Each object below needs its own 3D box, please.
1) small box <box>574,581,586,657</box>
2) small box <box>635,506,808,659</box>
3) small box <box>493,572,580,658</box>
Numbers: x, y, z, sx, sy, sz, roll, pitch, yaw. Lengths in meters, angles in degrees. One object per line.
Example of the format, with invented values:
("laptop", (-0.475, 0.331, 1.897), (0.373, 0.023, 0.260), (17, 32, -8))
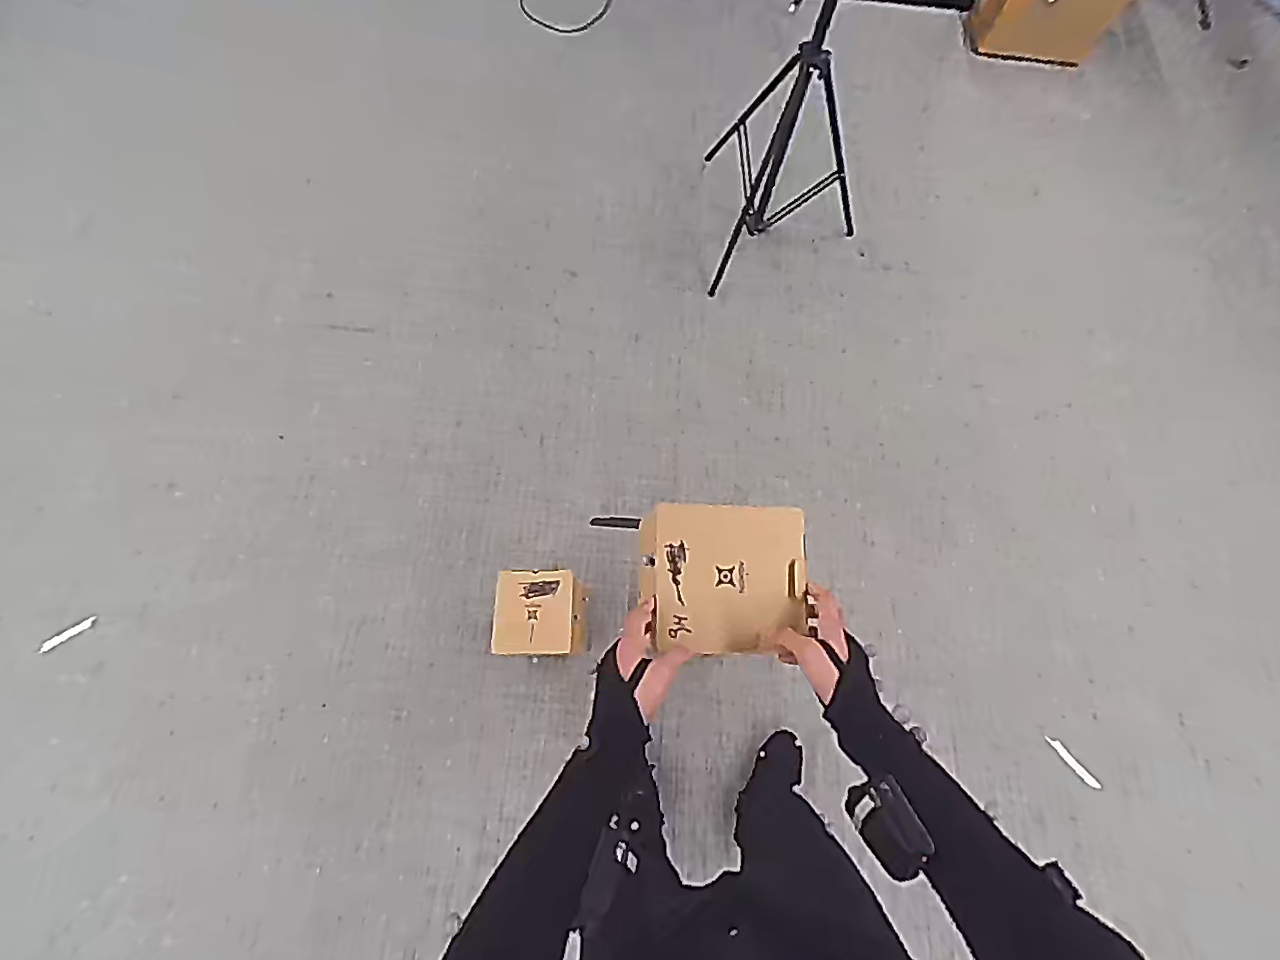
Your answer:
("small box", (-0.225, 0.358, 1.378), (0.168, 0.176, 0.179), (-1, 71, -3))
("small box", (0.093, 0.129, 0.681), (0.179, 0.176, 0.168), (3, 78, -7))
("small box", (-0.226, 0.309, 1.222), (0.168, 0.176, 0.179), (1, 72, -2))
